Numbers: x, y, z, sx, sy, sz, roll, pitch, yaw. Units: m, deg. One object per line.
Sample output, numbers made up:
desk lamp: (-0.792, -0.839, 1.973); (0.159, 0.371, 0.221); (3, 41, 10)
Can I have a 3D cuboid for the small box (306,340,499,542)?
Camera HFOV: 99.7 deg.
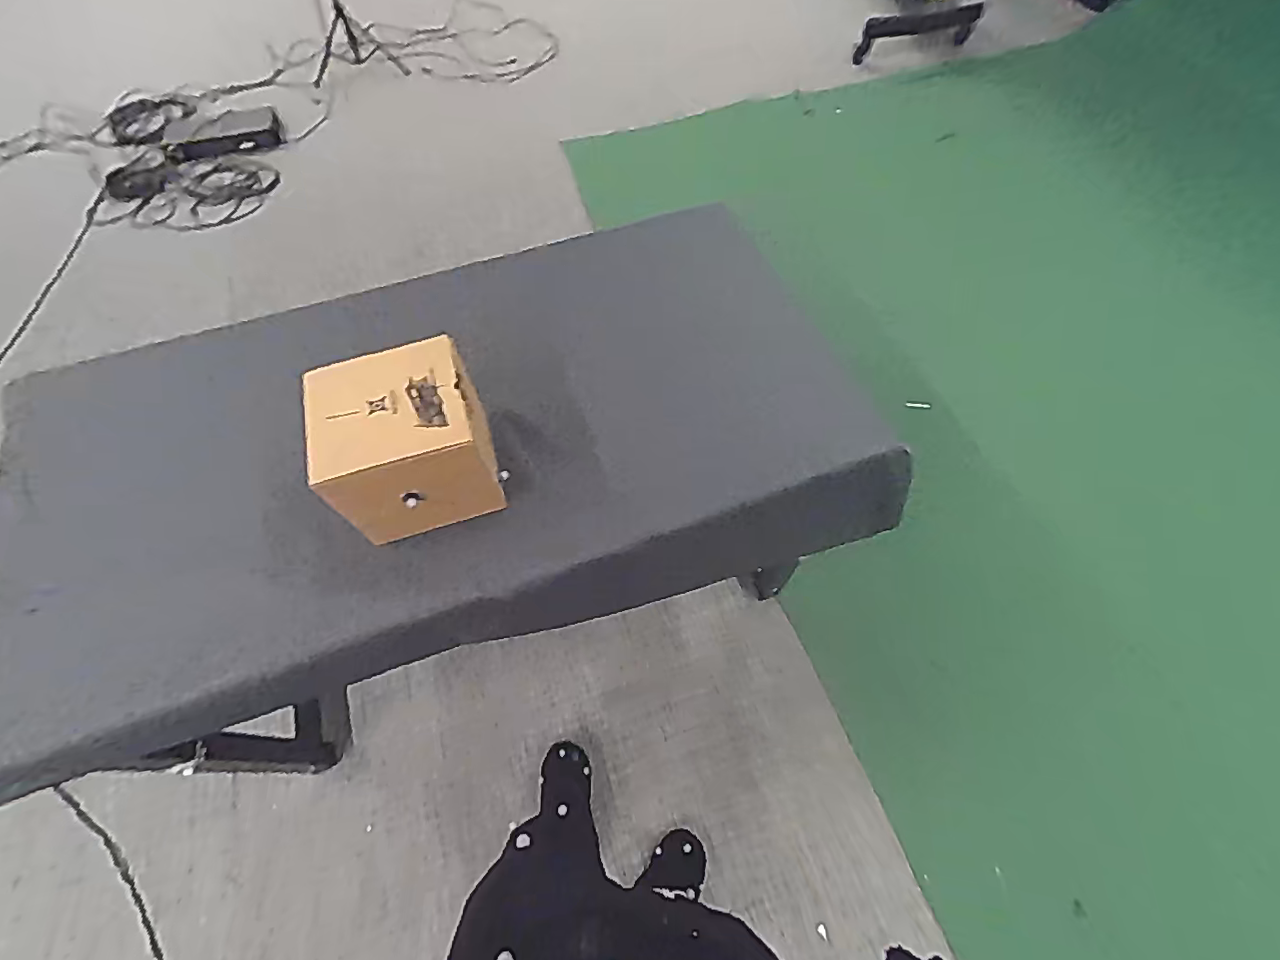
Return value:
small box: (-0.288, -0.043, 0.686); (0.179, 0.176, 0.168); (-17, 62, -8)
